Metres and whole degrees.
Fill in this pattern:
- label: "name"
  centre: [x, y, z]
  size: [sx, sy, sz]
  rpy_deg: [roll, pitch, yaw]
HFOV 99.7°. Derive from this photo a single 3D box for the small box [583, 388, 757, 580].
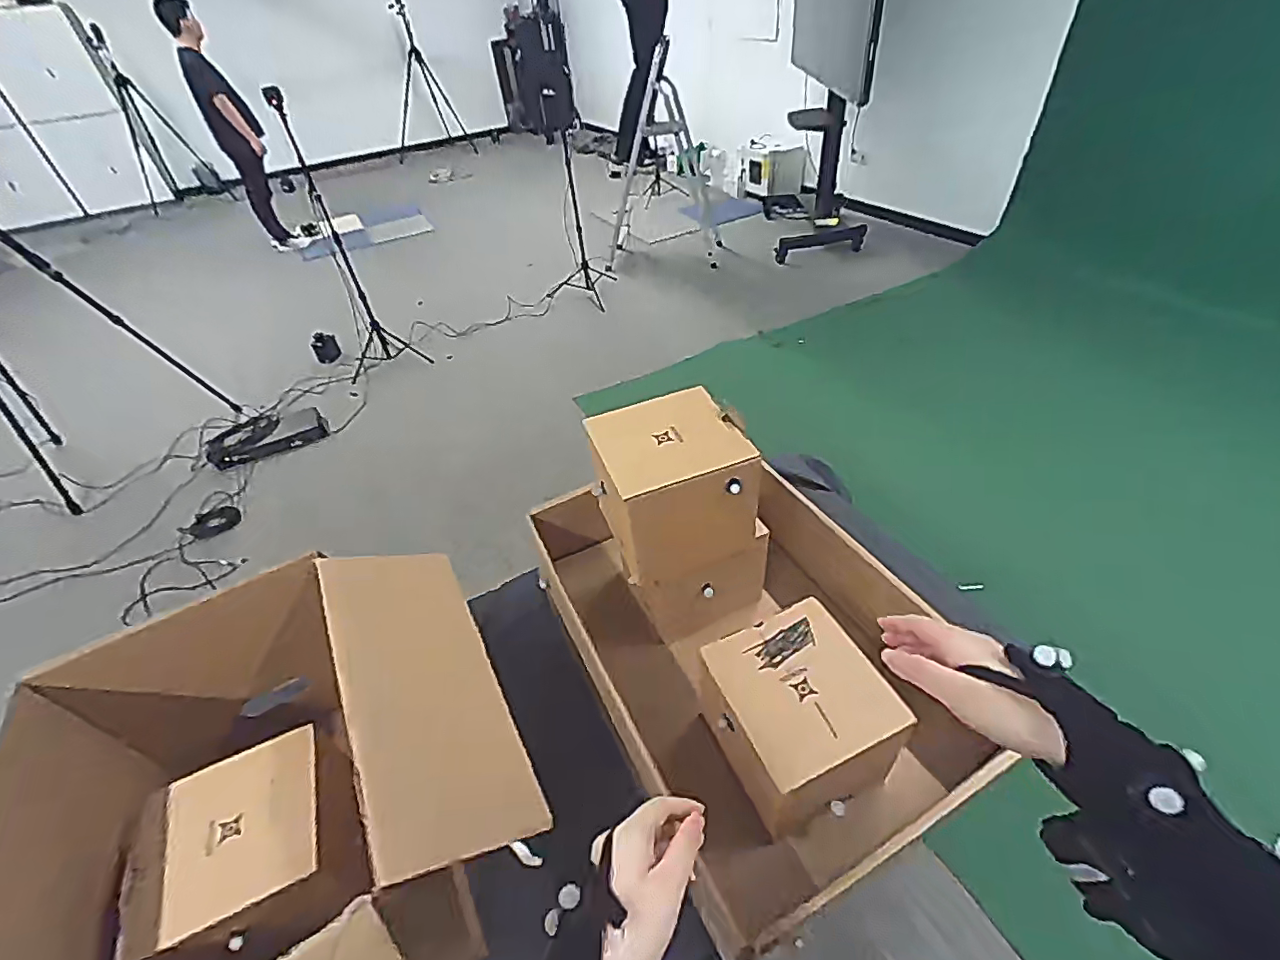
- label: "small box"
  centre: [0.038, 0.007, 0.726]
  size: [0.179, 0.176, 0.168]
  rpy_deg: [-17, 45, -12]
